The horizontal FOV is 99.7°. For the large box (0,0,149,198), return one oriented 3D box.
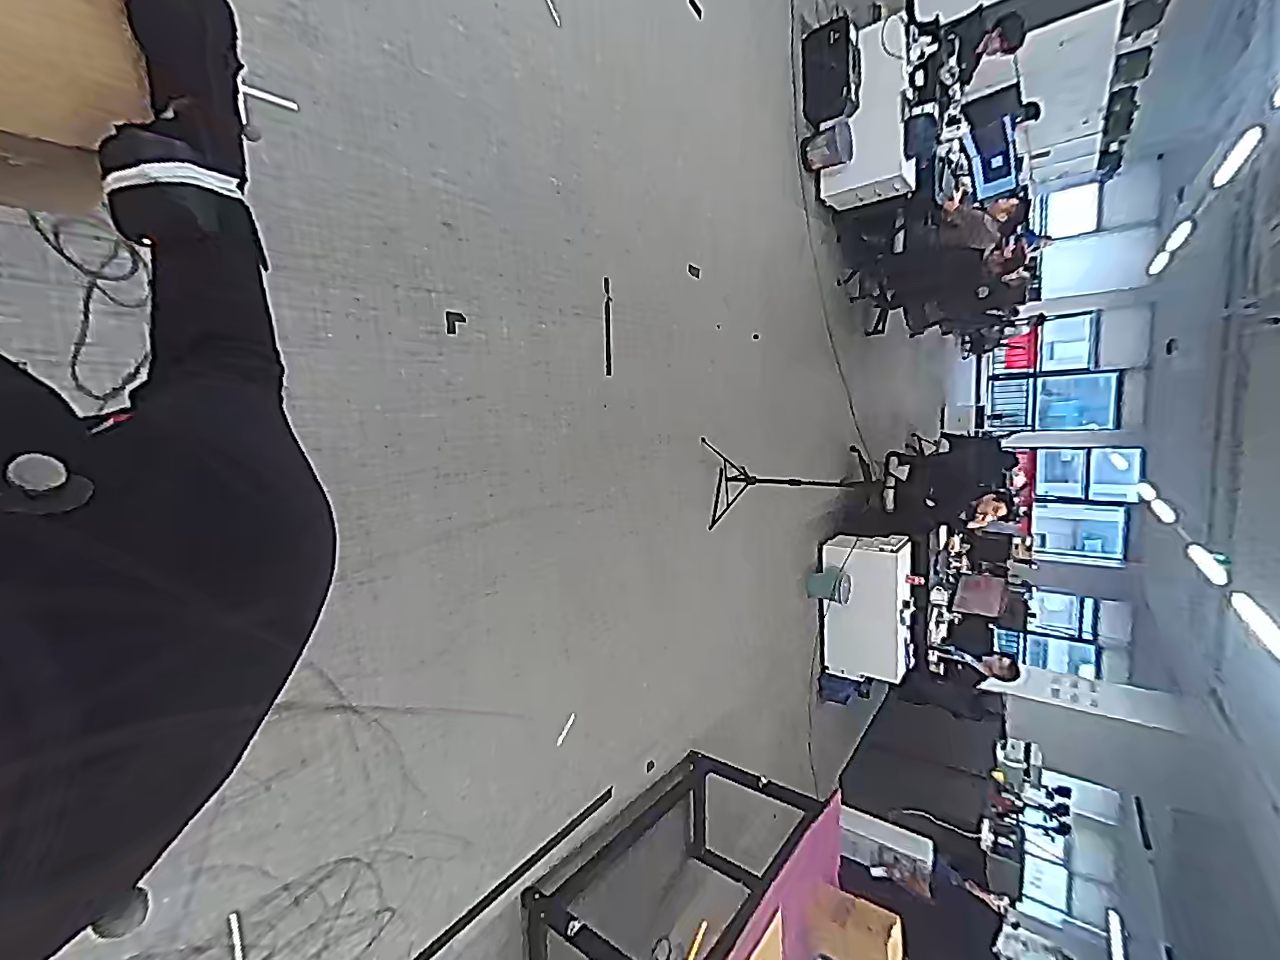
[{"bbox_3d":[-0.597,-0.387,0.298,0.408,0.320,0.320,-14,112,-52],"label":"large box"}]
